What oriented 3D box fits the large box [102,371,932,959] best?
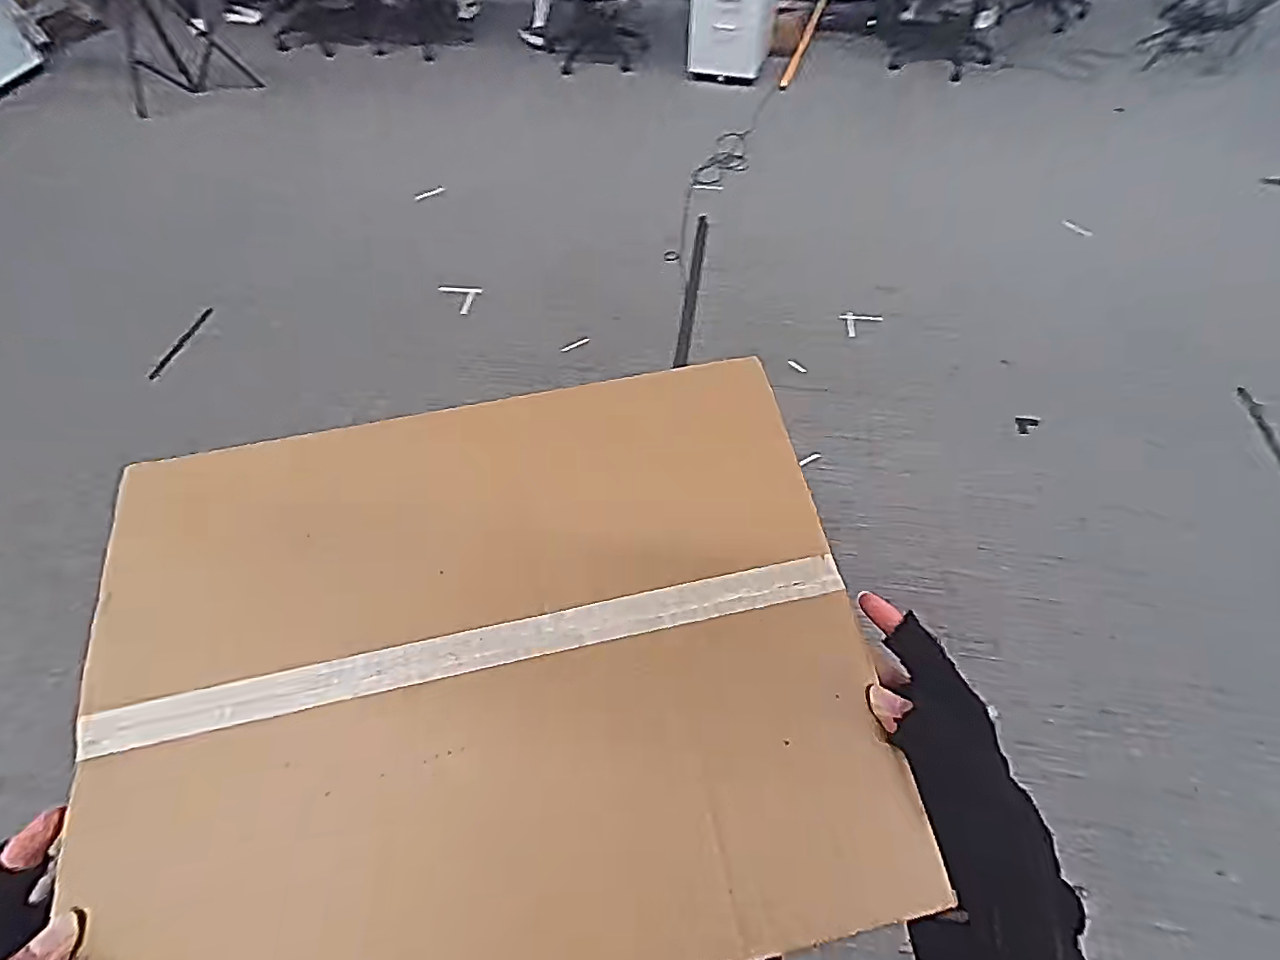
[{"bbox_3d":[-0.078,0.155,0.445,0.408,0.320,0.320,-10,68,-4],"label":"large box"}]
